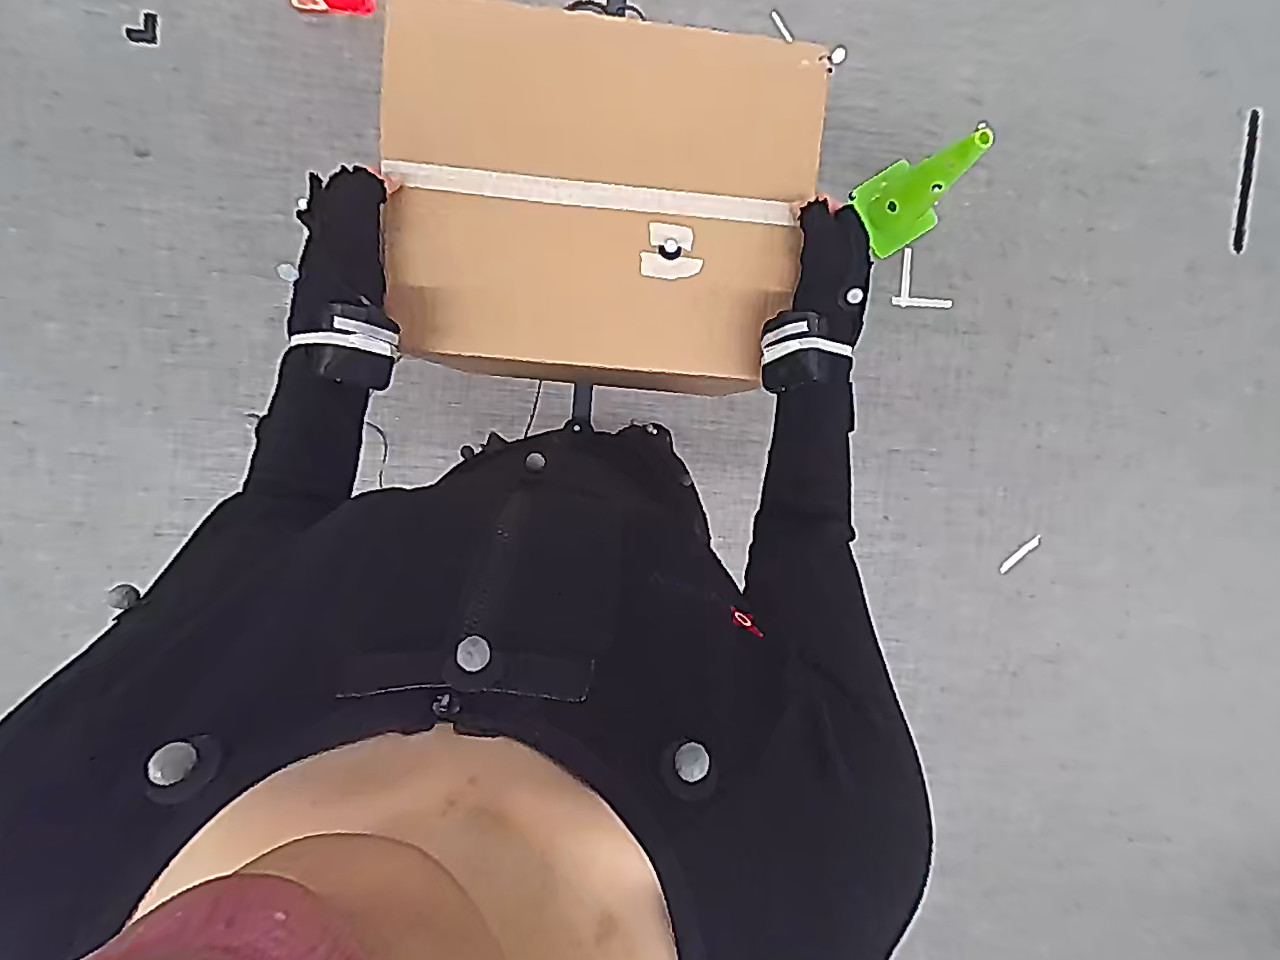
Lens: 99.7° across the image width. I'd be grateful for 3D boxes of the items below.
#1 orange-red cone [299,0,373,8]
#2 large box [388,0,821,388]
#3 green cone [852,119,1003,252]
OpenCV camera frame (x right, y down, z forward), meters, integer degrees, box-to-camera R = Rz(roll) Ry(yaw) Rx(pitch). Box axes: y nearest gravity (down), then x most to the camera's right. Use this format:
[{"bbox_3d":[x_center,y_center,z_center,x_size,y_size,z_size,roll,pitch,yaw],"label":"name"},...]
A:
[{"bbox_3d":[-0.733,-1.240,1.143,0.198,0.360,0.199,2,96,-4],"label":"orange-red cone"},{"bbox_3d":[-0.045,-0.288,0.660,0.408,0.320,0.320,4,96,-5],"label":"large box"},{"bbox_3d":[0.711,-0.733,1.292,0.202,0.368,0.200,-33,97,-2],"label":"green cone"}]
